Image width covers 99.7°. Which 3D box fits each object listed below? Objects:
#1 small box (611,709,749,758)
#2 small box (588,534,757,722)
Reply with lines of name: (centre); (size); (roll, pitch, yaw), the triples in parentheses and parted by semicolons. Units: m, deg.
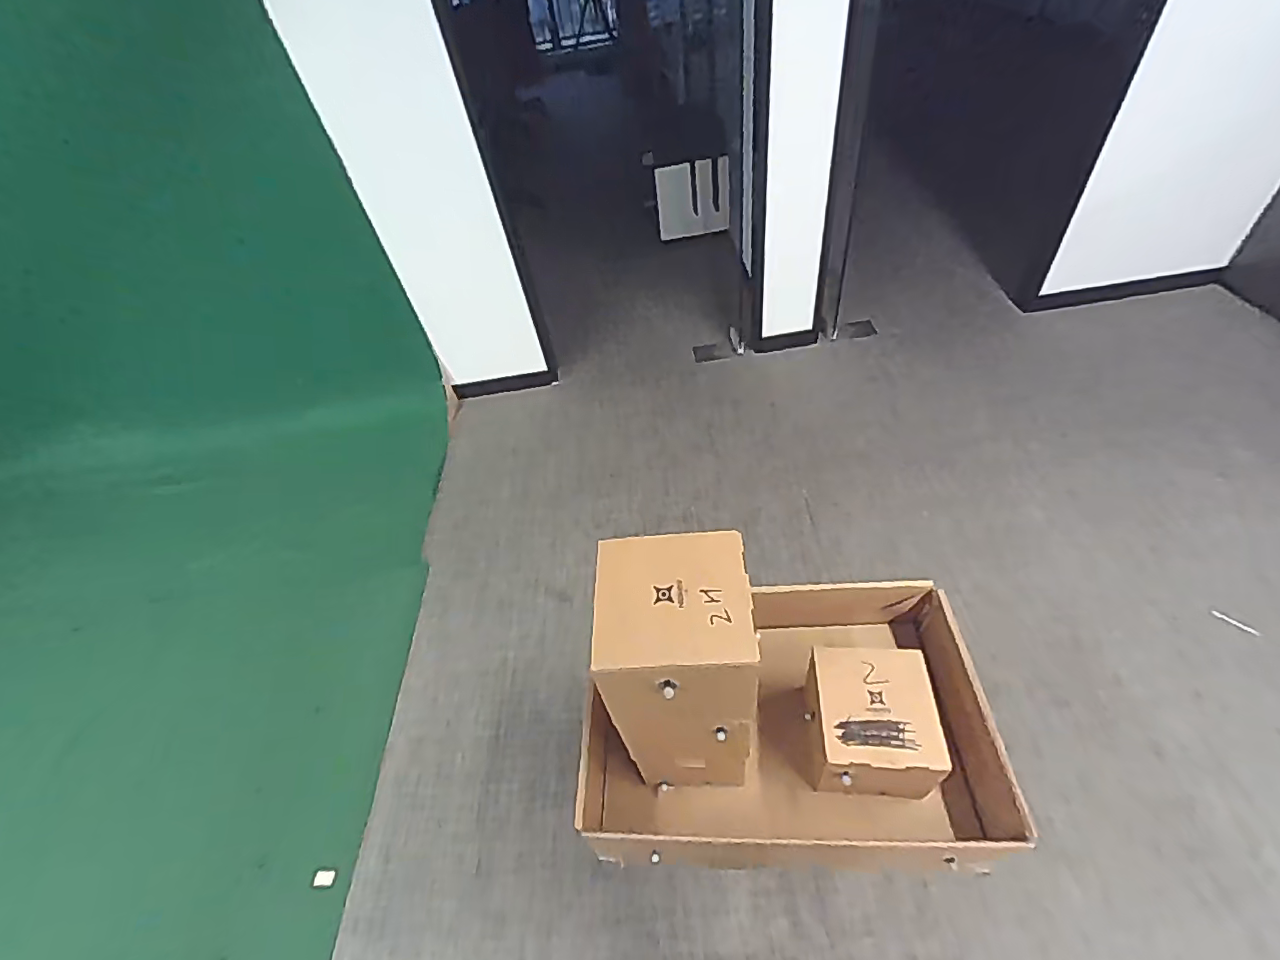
small box: (0.061, 0.292, 0.782); (0.179, 0.176, 0.168); (-4, 48, 5)
small box: (0.043, 0.184, 0.658); (0.179, 0.176, 0.168); (-4, 48, 5)
